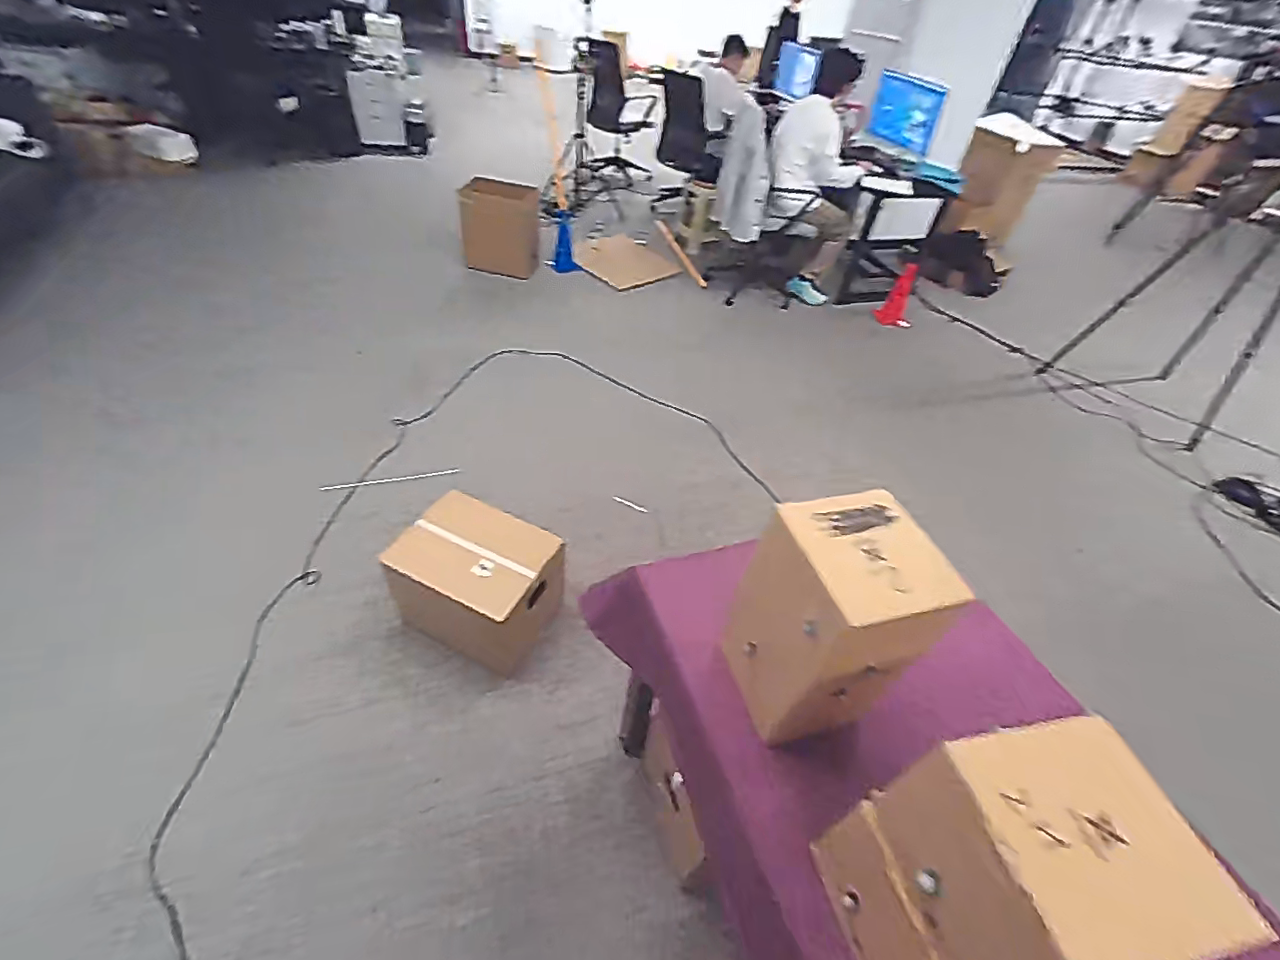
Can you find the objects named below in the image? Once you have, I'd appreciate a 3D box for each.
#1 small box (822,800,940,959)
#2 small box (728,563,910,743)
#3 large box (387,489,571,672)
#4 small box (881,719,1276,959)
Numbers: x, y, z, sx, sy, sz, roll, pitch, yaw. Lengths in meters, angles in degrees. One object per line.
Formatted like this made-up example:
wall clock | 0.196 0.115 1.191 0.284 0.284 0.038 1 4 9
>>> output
small box | 0.335 0.458 0.600 0.179 0.176 0.168 -5 45 -12
small box | 0.246 0.252 0.797 0.168 0.176 0.179 -8 45 -15
large box | -0.458 0.294 1.608 0.408 0.320 0.320 23 46 14
small box | 0.359 0.340 0.487 0.179 0.176 0.168 -4 44 -11
